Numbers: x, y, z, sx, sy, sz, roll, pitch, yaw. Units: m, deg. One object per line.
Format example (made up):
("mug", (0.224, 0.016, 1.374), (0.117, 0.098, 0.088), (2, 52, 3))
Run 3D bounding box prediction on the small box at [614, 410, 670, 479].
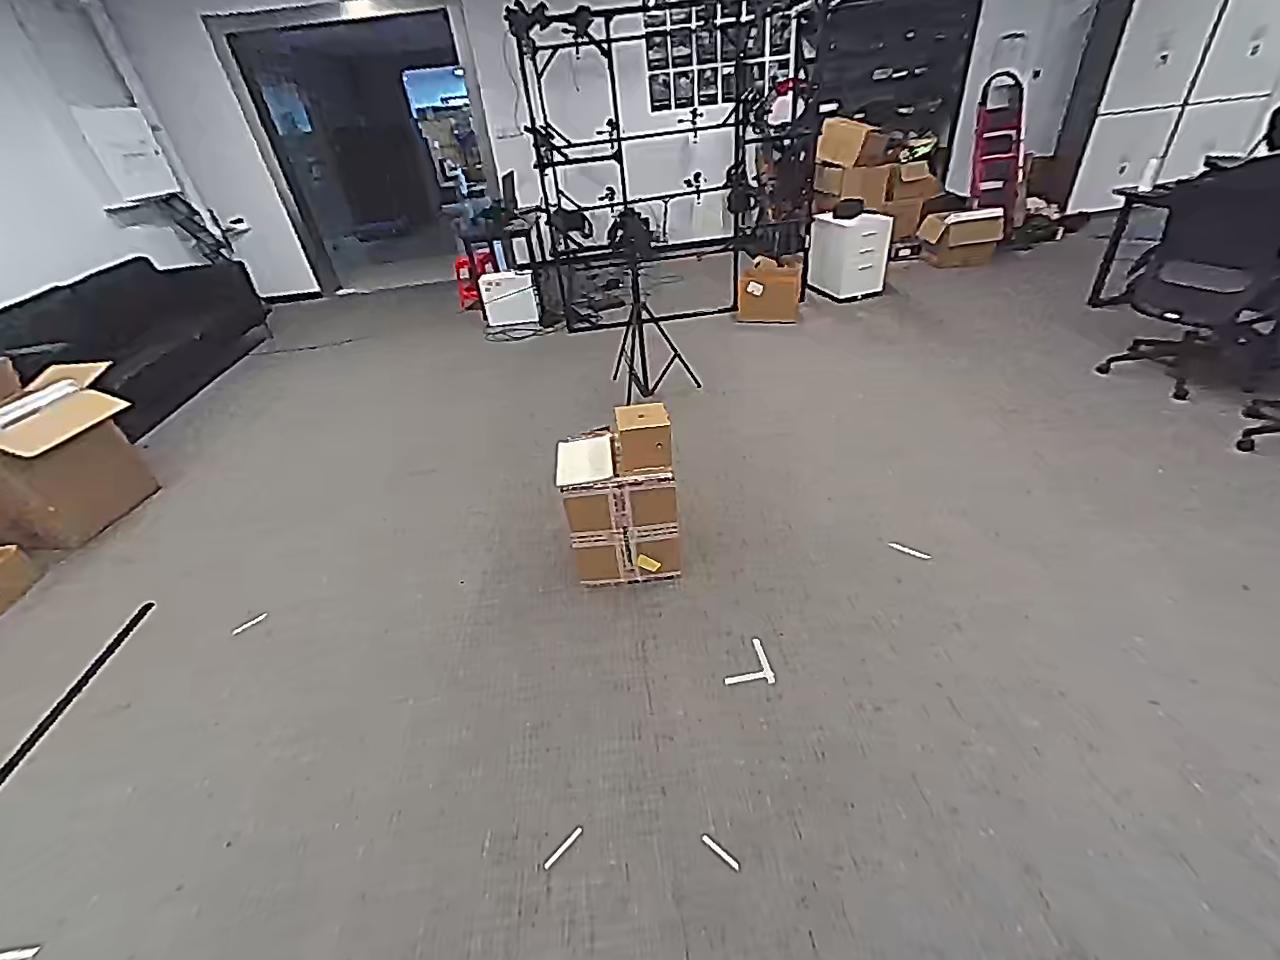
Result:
("small box", (0.009, -0.124, 1.883), (0.179, 0.176, 0.168), (-8, 36, -3))
